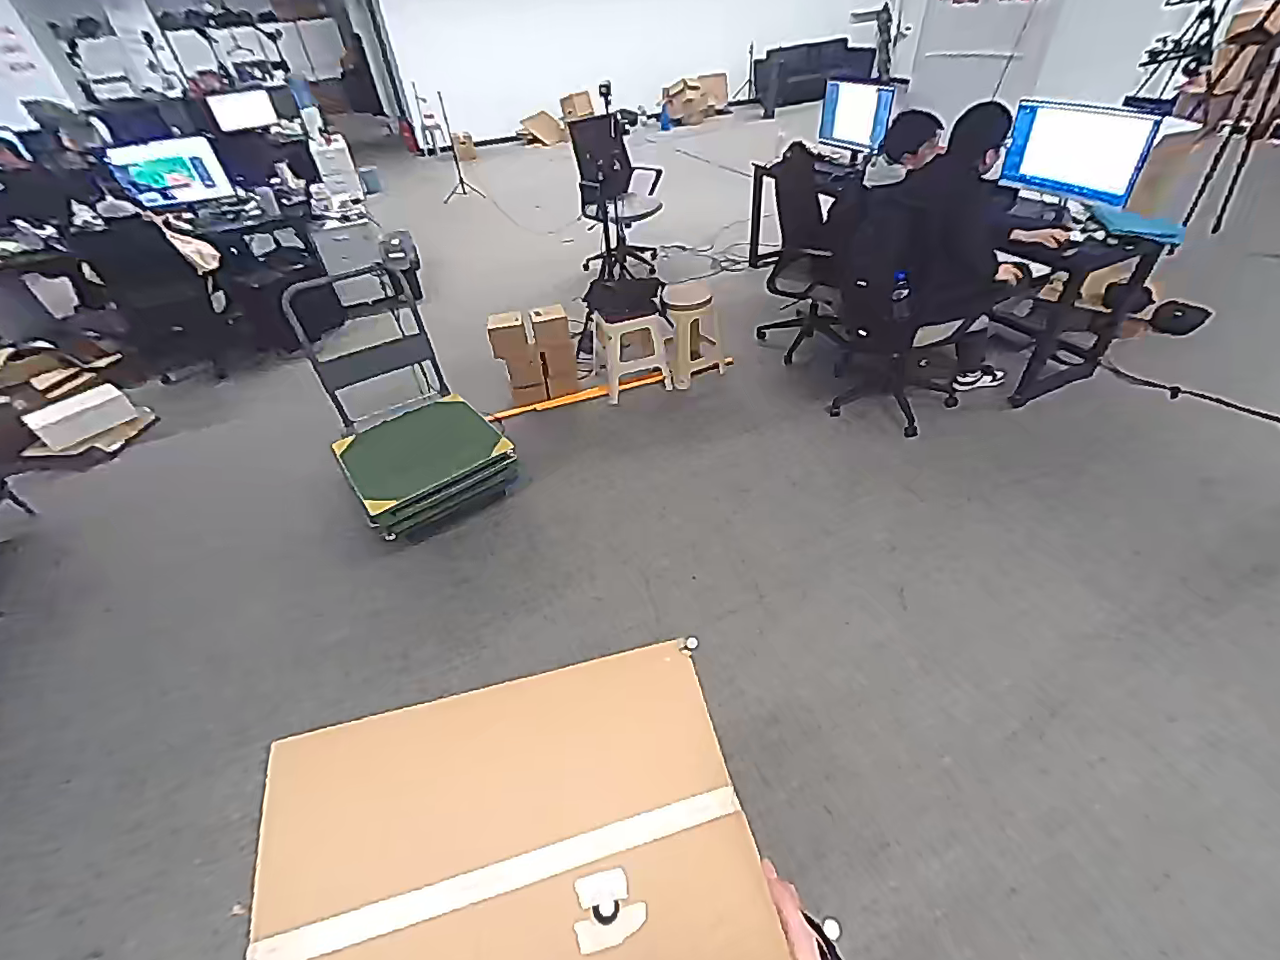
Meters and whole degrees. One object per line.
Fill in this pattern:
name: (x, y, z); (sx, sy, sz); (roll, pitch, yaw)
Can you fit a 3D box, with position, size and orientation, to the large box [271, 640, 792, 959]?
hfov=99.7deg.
large box: (-0.115, 0.420, 0.588); (0.408, 0.320, 0.320); (-10, 57, -14)
